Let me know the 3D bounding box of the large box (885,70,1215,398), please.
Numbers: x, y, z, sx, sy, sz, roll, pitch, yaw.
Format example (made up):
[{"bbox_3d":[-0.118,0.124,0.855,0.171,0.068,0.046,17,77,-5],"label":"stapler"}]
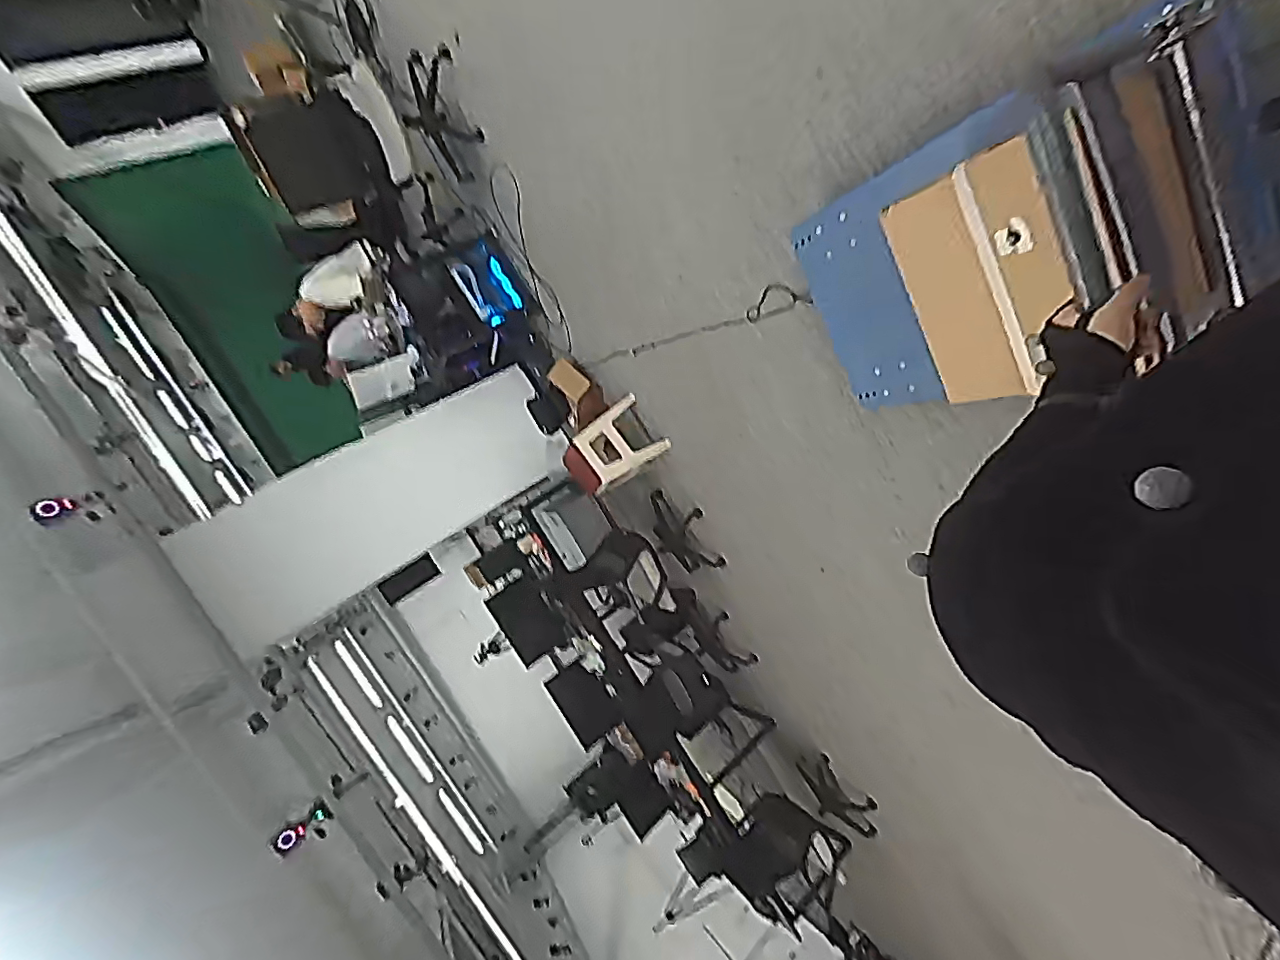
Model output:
[{"bbox_3d":[0.732,-0.413,0.977,0.320,0.320,0.408,-5,115,62],"label":"large box"}]
